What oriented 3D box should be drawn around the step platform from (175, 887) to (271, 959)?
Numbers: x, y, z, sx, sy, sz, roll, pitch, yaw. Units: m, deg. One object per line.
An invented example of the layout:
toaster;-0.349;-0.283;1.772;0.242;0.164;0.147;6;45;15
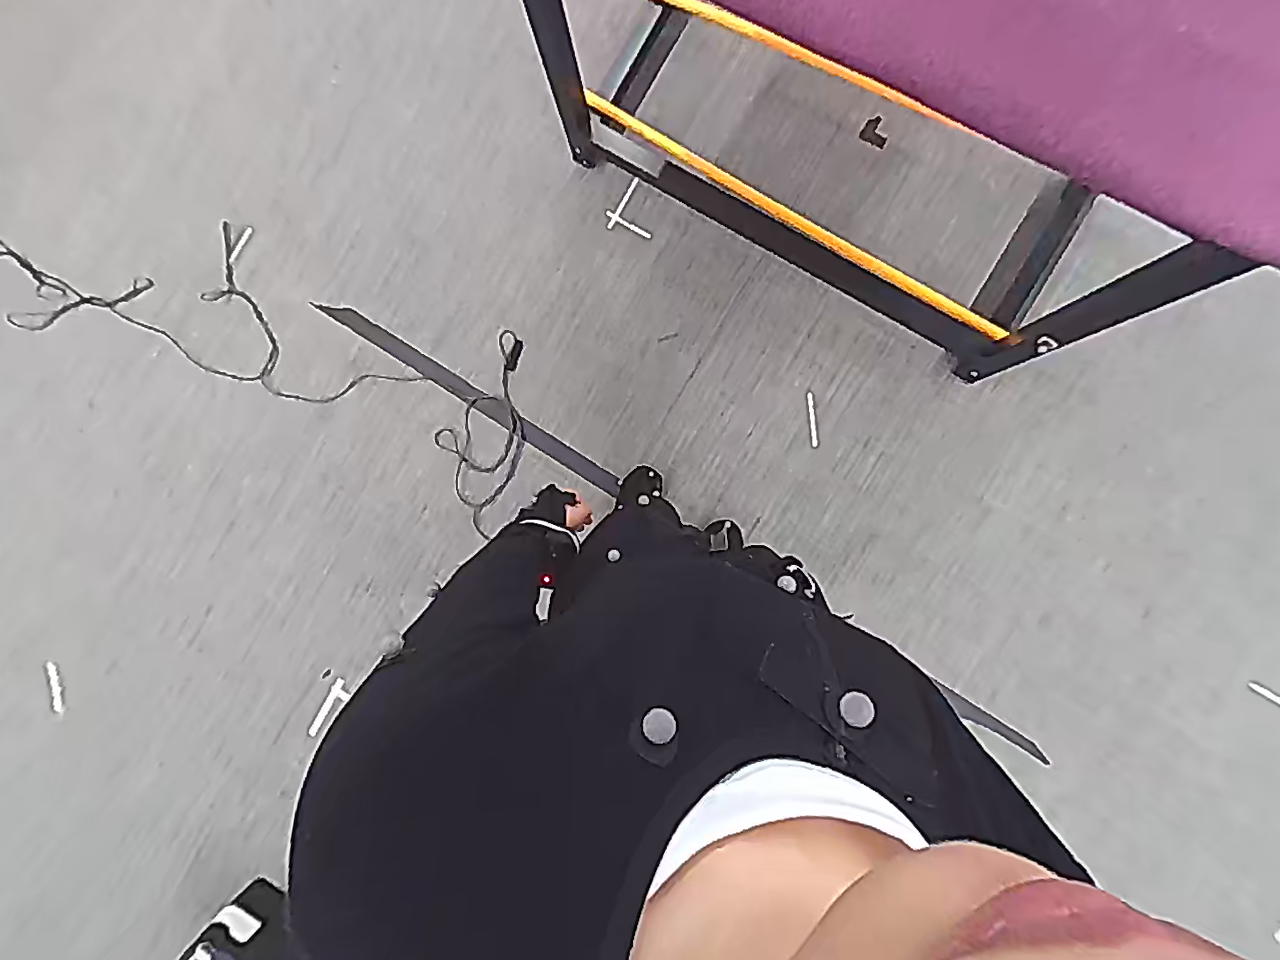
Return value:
step platform;-0.847;1.355;1.323;0.684;0.204;0.286;31;91;3
